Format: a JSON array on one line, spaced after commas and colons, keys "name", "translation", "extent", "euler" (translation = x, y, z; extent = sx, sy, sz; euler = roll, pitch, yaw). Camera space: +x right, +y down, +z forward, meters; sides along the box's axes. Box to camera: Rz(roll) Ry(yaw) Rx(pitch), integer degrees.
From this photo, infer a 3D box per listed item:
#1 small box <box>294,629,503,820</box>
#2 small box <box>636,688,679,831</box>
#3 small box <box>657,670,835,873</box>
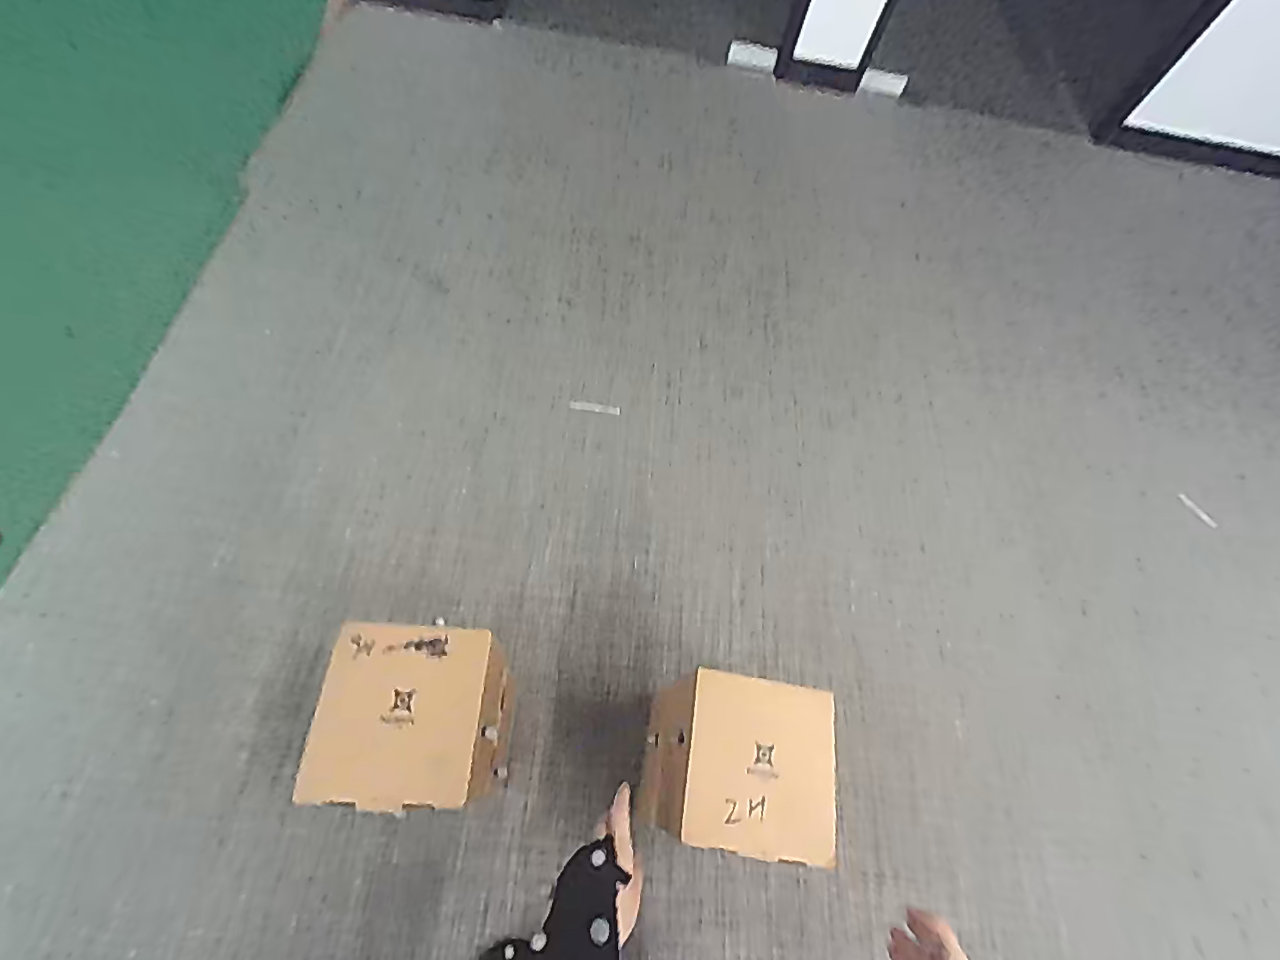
[{"name": "small box", "translation": [-0.258, 0.282, 0.631], "extent": [0.168, 0.176, 0.179], "euler": [6, 63, -6]}, {"name": "small box", "translation": [0.095, 0.424, 0.804], "extent": [0.168, 0.176, 0.179], "euler": [13, 63, -3]}, {"name": "small box", "translation": [0.122, 0.348, 0.659], "extent": [0.168, 0.176, 0.179], "euler": [12, 62, -3]}]
